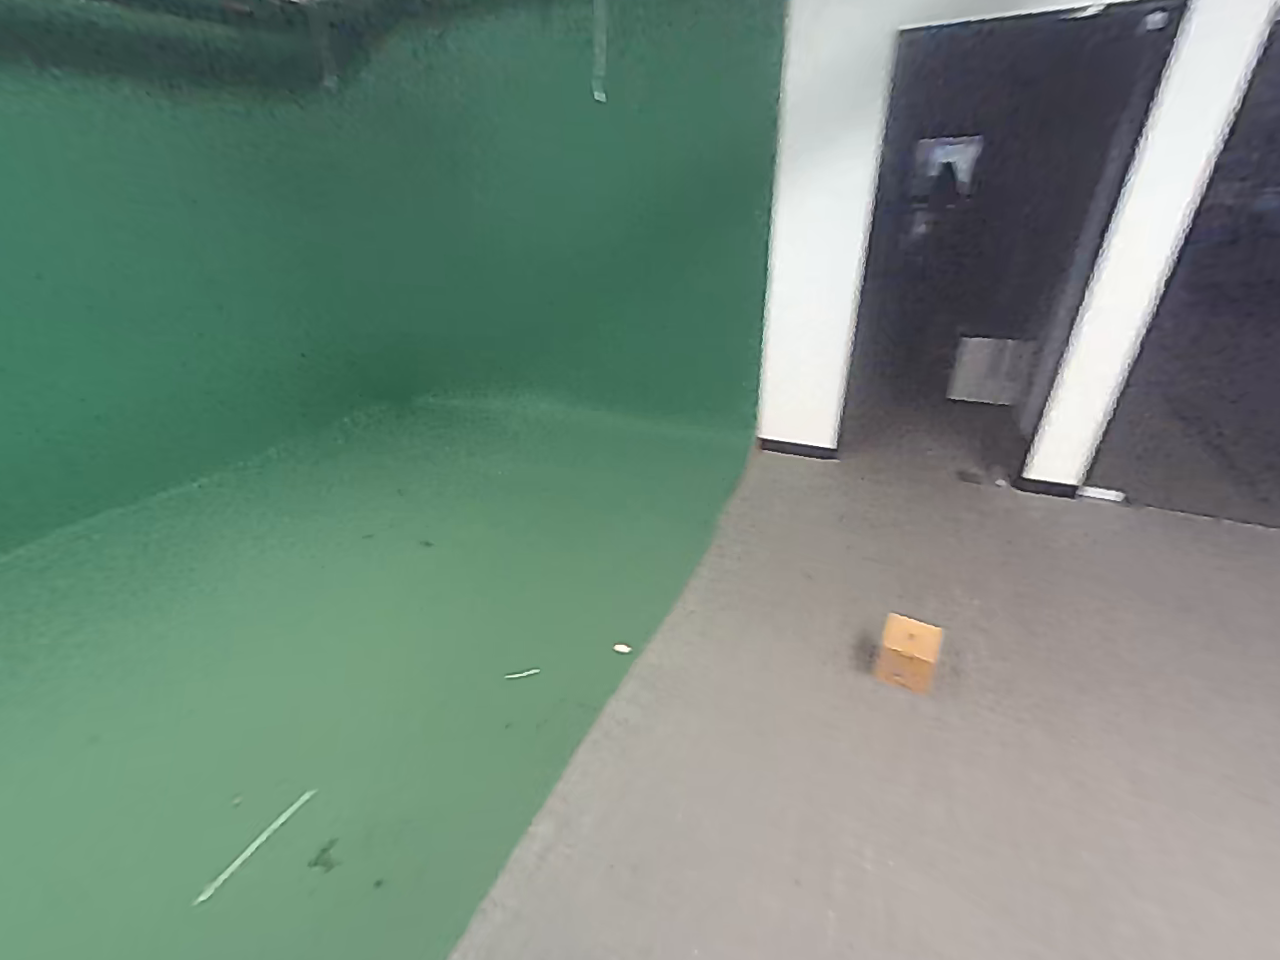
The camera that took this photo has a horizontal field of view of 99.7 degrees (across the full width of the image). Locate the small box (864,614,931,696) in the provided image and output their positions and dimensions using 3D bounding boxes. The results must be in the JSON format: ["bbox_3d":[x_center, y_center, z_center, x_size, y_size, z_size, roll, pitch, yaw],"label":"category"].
[{"bbox_3d":[0.891,0.607,1.876,0.168,0.176,0.179,15,34,27],"label":"small box"}]
